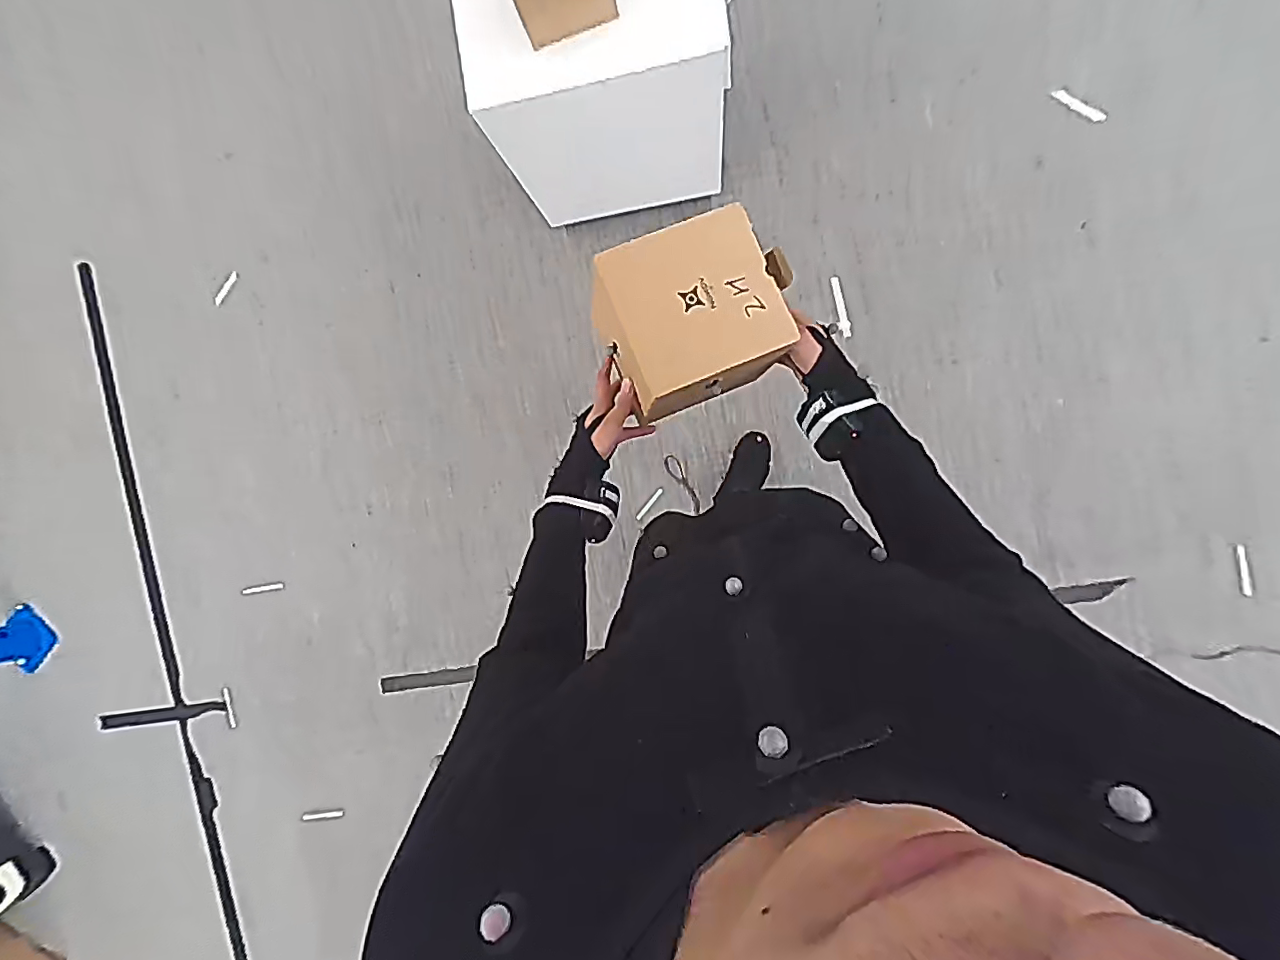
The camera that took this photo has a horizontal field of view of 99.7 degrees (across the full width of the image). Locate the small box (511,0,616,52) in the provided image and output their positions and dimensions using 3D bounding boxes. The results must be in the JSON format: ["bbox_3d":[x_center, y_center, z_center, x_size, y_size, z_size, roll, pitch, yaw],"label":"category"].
[{"bbox_3d":[-0.155,-0.915,0.954,0.179,0.176,0.168,-16,90,7],"label":"small box"}]

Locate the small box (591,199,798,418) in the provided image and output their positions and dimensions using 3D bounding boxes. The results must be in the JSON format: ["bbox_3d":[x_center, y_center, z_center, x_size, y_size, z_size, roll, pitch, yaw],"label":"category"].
[{"bbox_3d":[0.053,-0.188,0.646,0.179,0.176,0.168,-23,88,-7],"label":"small box"}]
